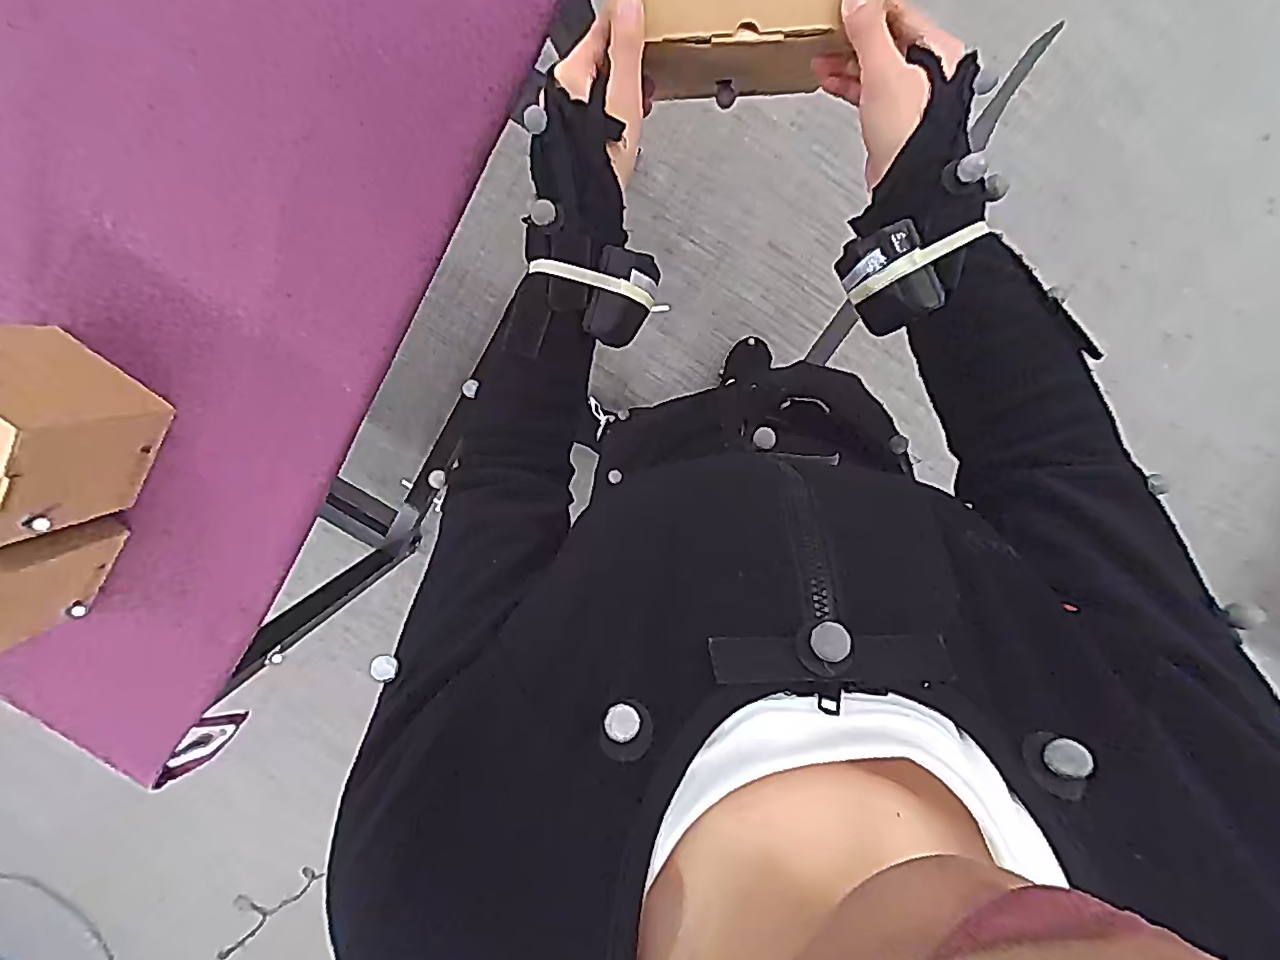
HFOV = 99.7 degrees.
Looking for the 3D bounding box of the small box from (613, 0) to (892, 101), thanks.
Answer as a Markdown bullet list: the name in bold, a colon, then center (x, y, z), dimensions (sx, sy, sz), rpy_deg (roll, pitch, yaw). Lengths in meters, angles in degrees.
- **small box**: center (0.066, -0.379, 0.361), dimensions (0.168, 0.176, 0.179), rpy_deg (-1, 114, 3)
